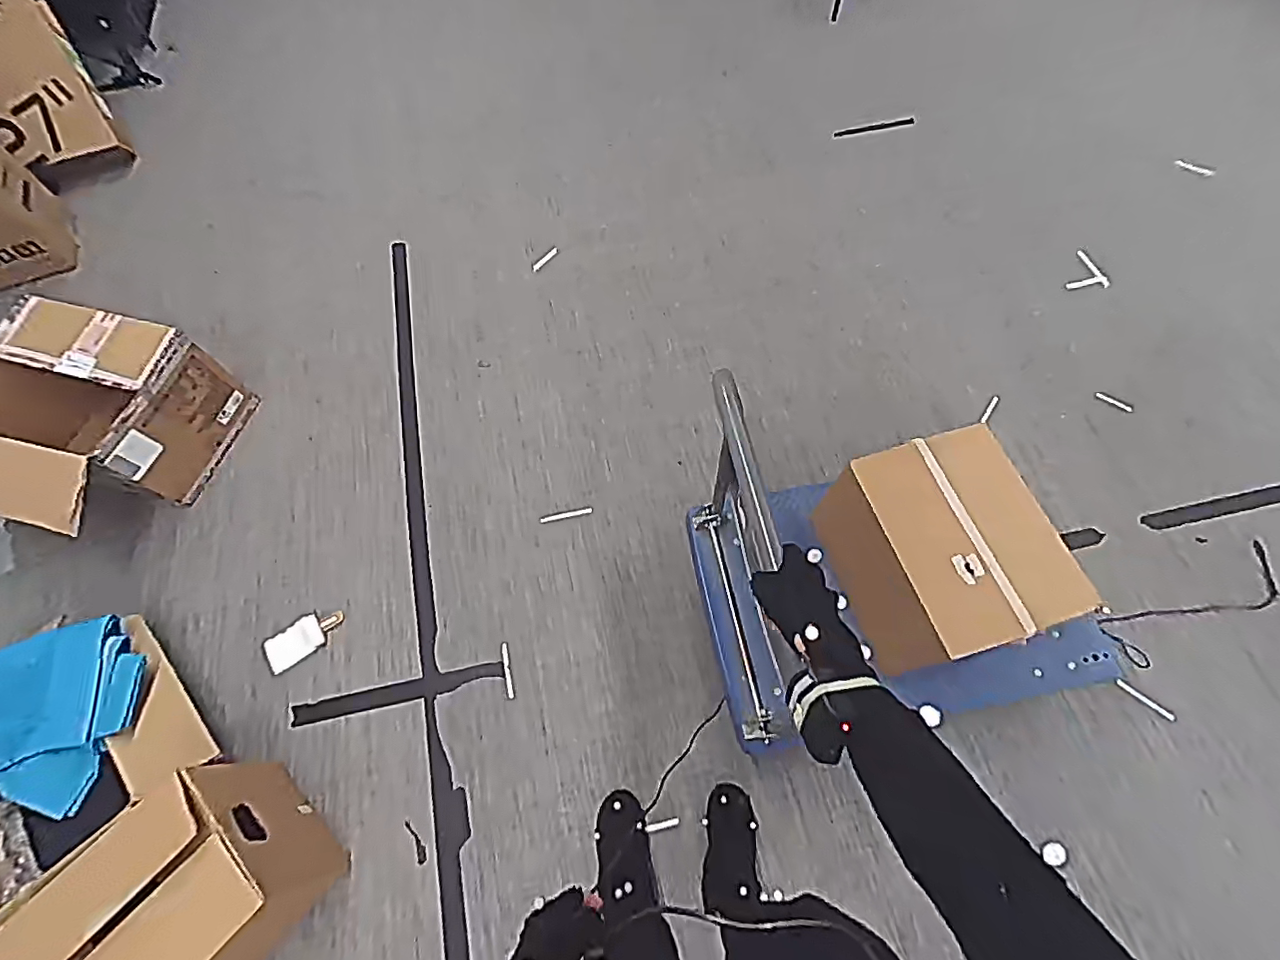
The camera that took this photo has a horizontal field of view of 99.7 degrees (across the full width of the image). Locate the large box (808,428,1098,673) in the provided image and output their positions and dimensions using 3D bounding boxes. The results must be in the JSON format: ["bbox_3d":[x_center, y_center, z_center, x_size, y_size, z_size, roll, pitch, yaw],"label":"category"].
[{"bbox_3d":[0.622,0.161,1.167,0.320,0.320,0.408,-16,67,-6],"label":"large box"}]
